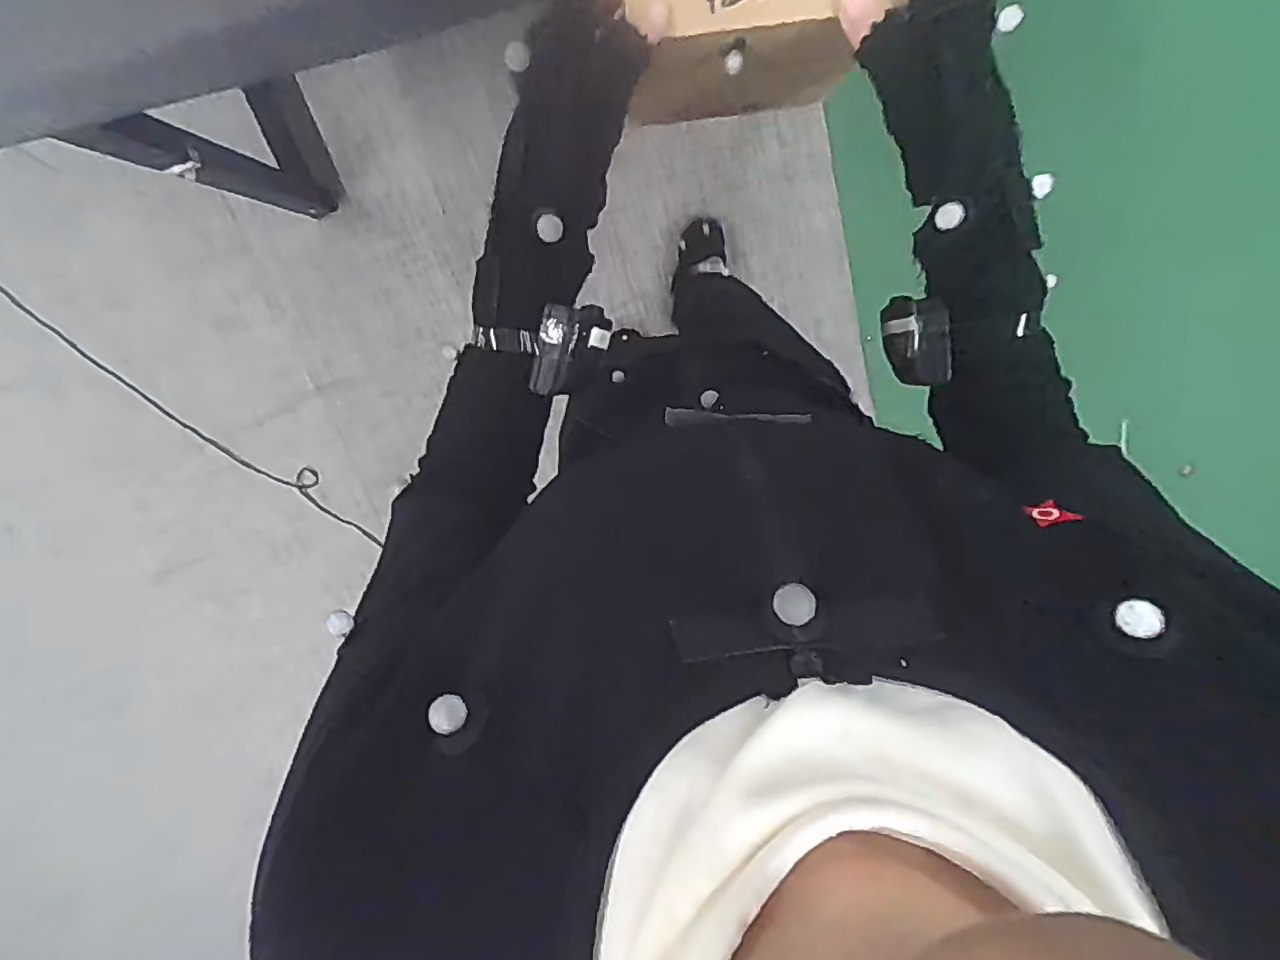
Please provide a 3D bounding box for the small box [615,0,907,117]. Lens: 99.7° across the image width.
[{"bbox_3d":[0.063,-0.371,0.354,0.168,0.176,0.179,-6,109,1],"label":"small box"}]
